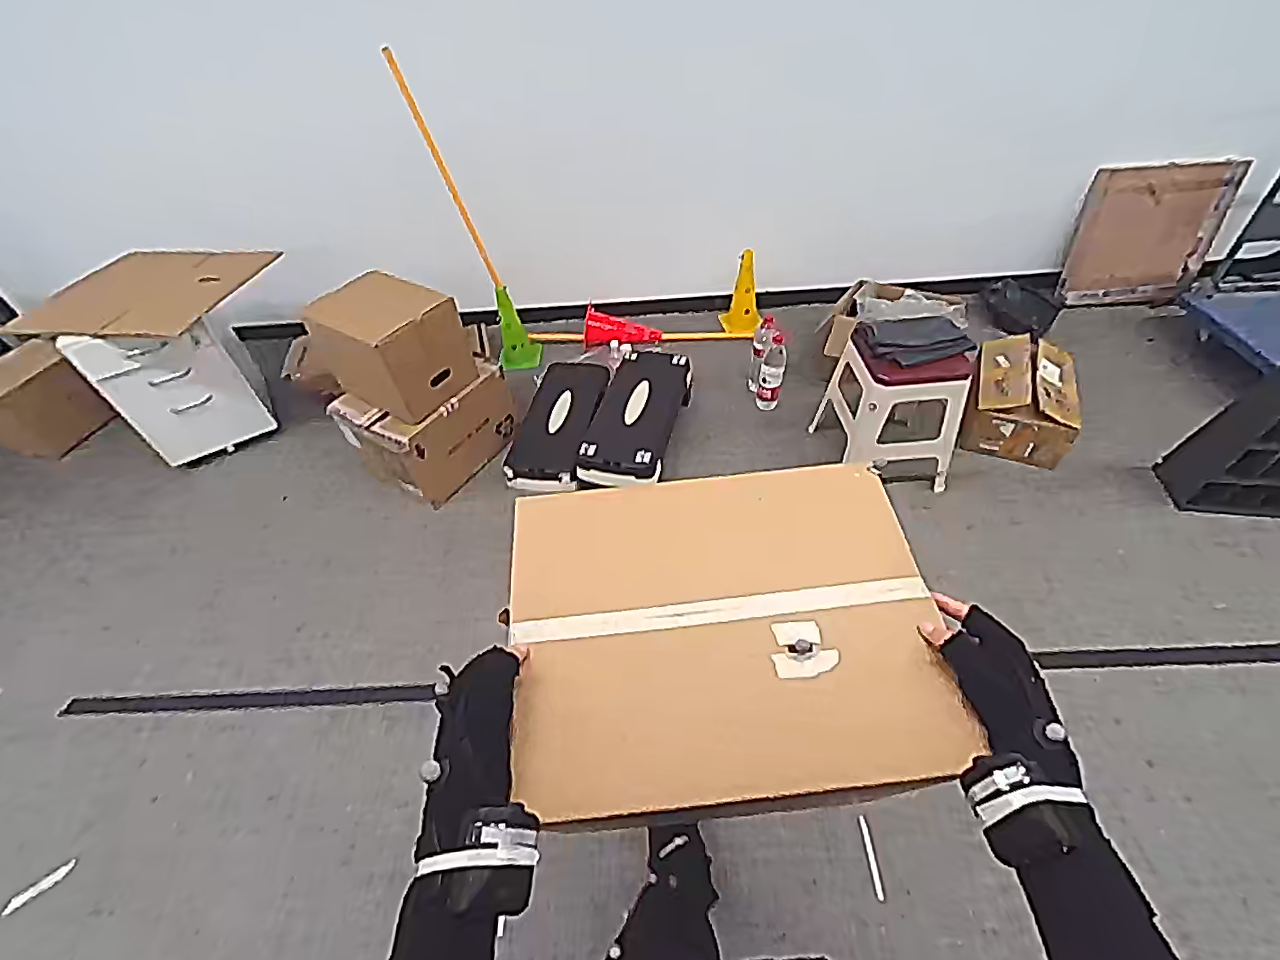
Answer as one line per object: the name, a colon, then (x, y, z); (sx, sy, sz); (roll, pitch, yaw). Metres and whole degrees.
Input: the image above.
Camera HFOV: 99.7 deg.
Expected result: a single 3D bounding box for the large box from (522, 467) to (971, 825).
large box: (0.084, 0.217, 0.670); (0.408, 0.320, 0.320); (-6, 57, -1)
